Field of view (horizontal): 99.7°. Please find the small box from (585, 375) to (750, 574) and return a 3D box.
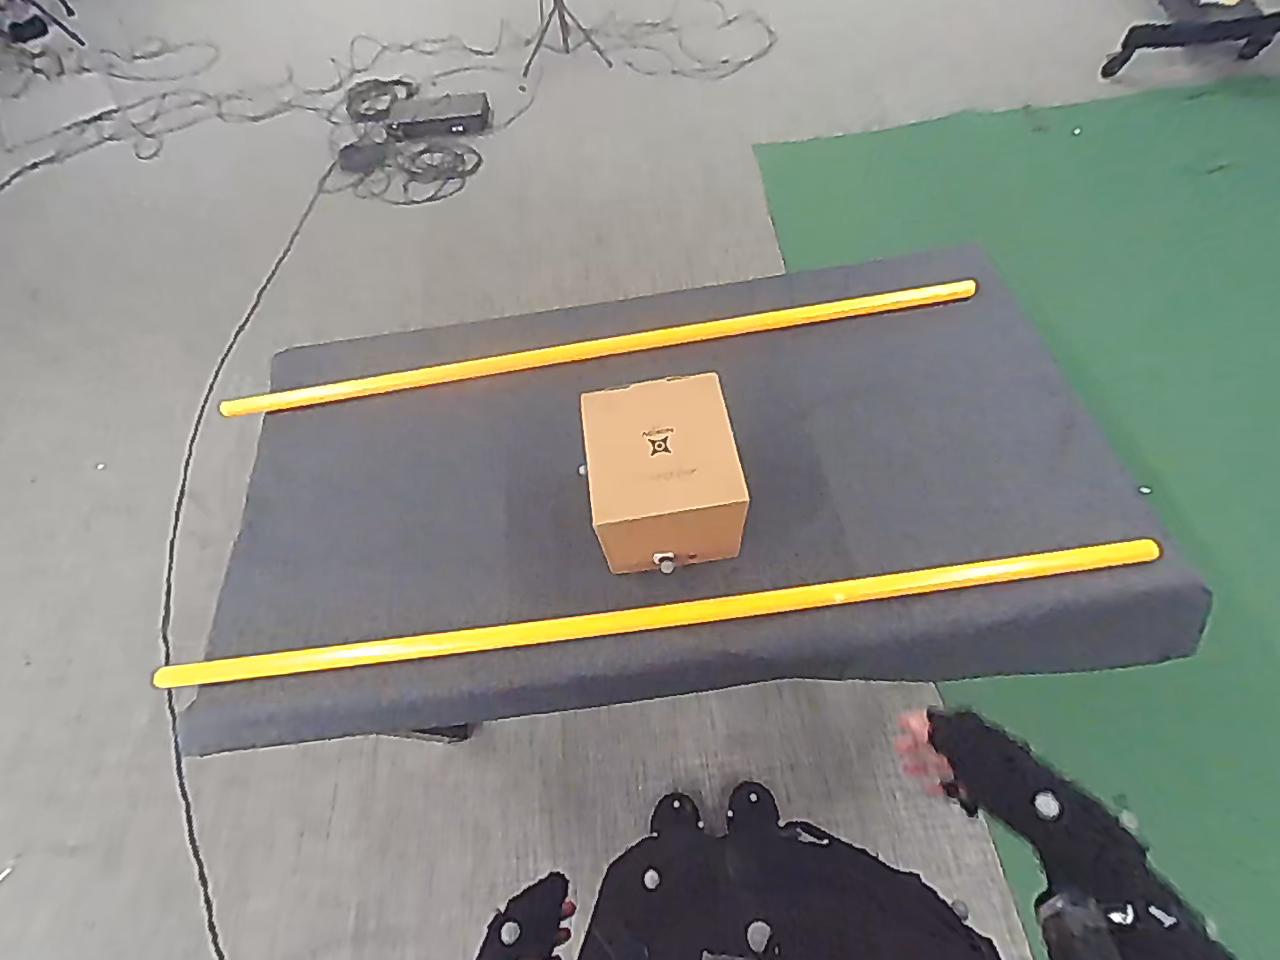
[{"bbox_3d":[0.031,0.000,0.674,0.168,0.176,0.179,-10,62,1],"label":"small box"}]
